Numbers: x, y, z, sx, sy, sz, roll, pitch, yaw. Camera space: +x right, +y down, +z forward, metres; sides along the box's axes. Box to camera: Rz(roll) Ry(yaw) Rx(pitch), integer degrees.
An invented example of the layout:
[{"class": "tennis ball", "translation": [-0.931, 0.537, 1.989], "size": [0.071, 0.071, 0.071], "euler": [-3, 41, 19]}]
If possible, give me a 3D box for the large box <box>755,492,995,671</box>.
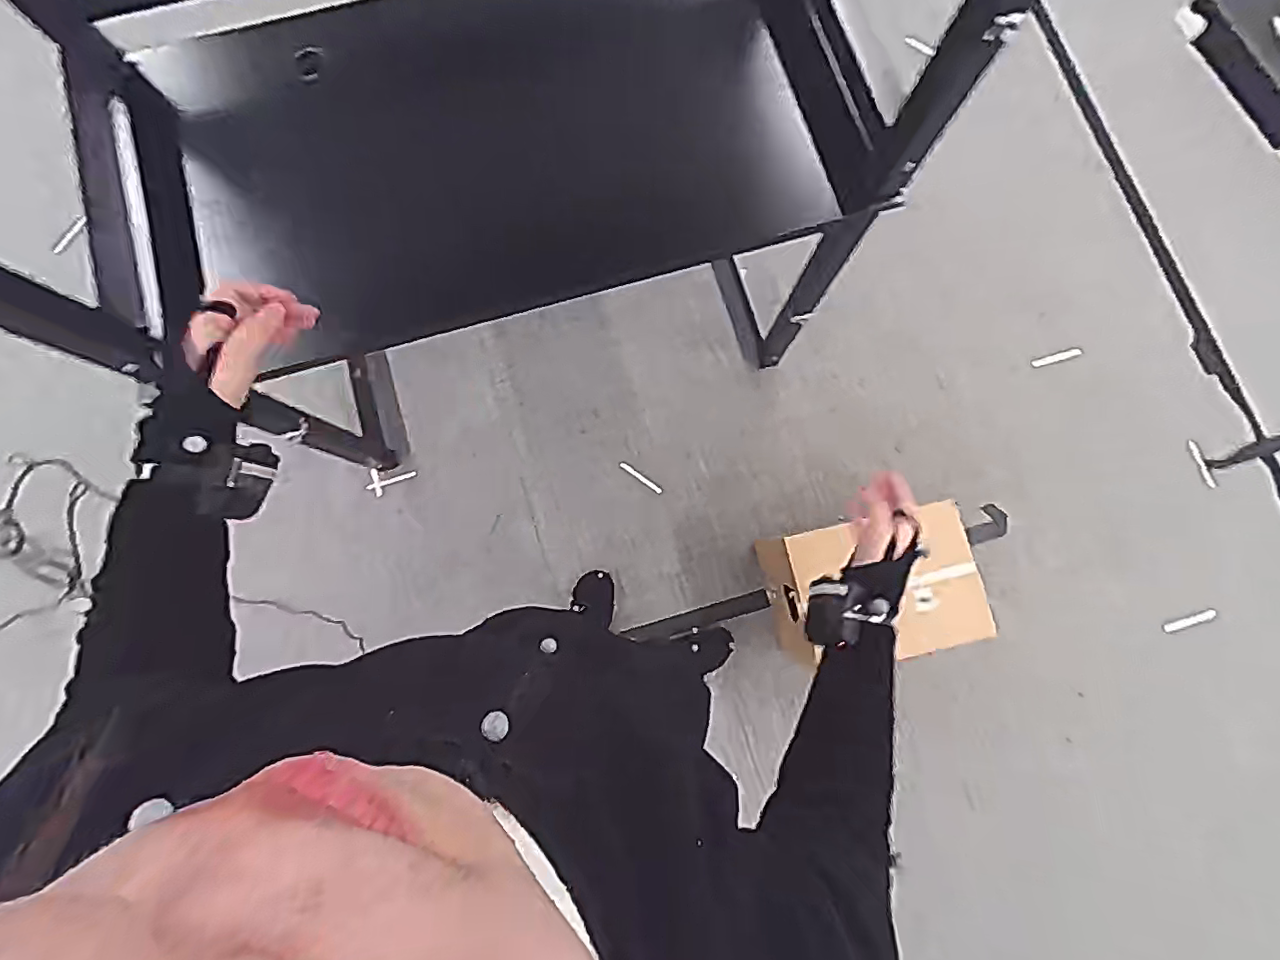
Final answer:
[{"class": "large box", "translation": [0.545, 0.241, 1.334], "size": [0.408, 0.320, 0.320], "euler": [-13, 83, -3]}]
